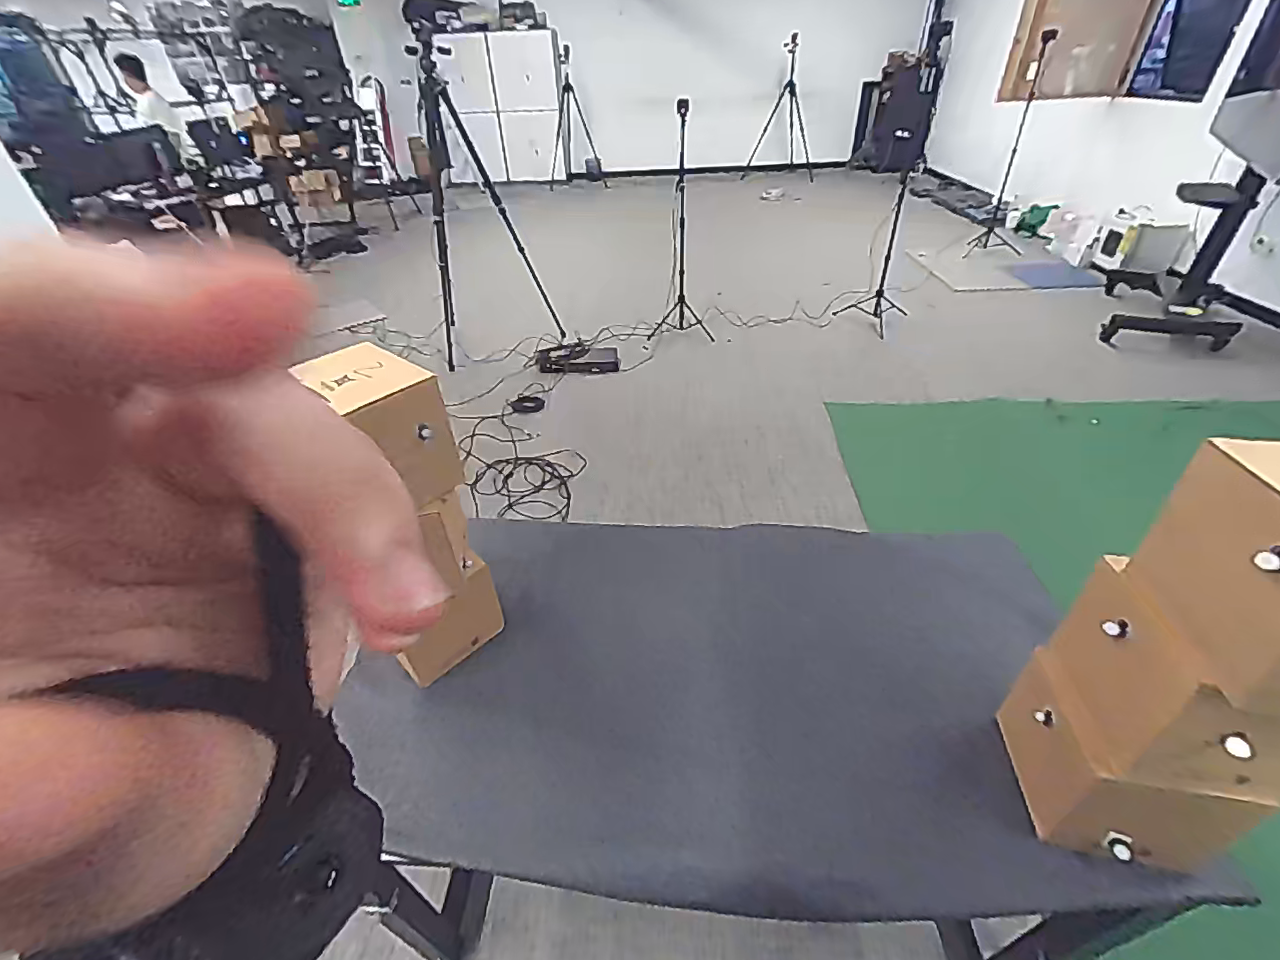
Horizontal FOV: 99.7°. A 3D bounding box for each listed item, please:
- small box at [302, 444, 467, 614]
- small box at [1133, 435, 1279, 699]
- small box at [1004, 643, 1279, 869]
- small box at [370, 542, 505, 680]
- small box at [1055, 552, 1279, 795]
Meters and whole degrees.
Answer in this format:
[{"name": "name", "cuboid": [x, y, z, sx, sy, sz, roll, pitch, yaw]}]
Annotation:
[{"name": "small box", "cuboid": [-0.363, 0.072, 0.809, 0.179, 0.176, 0.168, -12, 40, -10]}, {"name": "small box", "cuboid": [0.587, 0.079, 0.458, 0.168, 0.176, 0.179, 4, 34, 11]}, {"name": "small box", "cuboid": [0.584, 0.333, 0.666, 0.168, 0.176, 0.179, 4, 36, 12]}, {"name": "small box", "cuboid": [-0.355, 0.199, 0.915, 0.179, 0.176, 0.168, 29, 49, 34]}, {"name": "small box", "cuboid": [0.590, 0.201, 0.572, 0.168, 0.176, 0.179, 3, 34, 10]}]
